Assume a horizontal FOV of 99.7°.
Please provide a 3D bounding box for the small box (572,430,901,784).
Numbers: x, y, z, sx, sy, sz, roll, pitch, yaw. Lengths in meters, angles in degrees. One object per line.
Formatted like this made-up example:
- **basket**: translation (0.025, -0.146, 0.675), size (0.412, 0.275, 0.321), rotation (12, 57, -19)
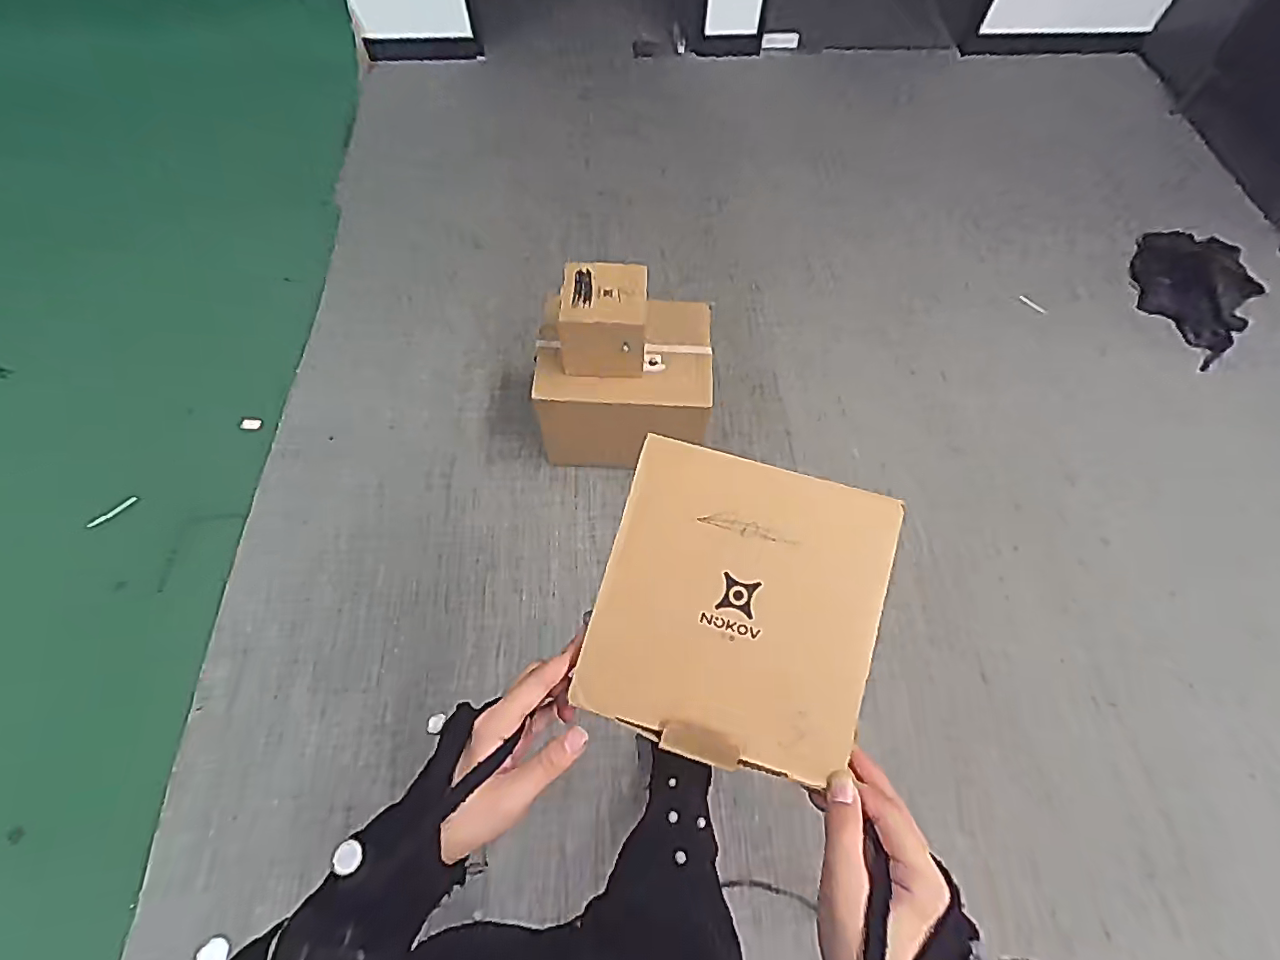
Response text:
- **small box**: translation (0.065, 0.085, 0.405), size (0.168, 0.176, 0.179), rotation (15, 80, 6)

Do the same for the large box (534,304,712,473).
- **large box**: translation (-0.042, -0.221, 1.390), size (0.408, 0.320, 0.320), rotation (3, 63, -1)
